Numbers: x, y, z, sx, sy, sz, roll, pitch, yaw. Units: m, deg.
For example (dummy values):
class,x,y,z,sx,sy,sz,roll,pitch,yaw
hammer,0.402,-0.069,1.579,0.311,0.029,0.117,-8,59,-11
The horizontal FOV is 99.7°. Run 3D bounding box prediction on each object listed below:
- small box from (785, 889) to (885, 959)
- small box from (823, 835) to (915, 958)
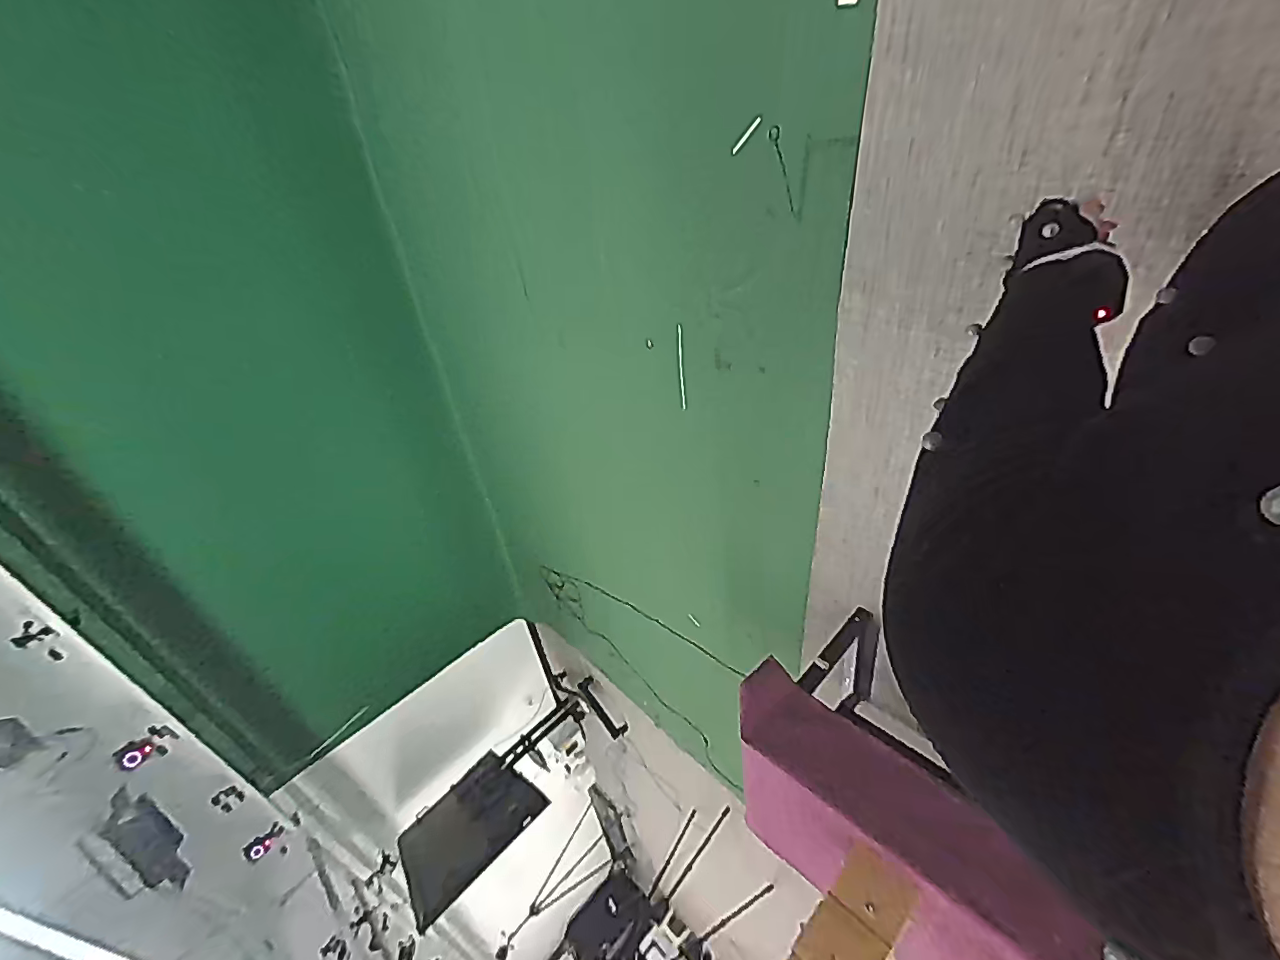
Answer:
class,x,y,z,sx,sy,sz,roll,pitch,yaw
small box,0.491,1.188,1.370,0.179,0.176,0.168,25,137,39
small box,0.610,1.111,1.452,0.179,0.176,0.168,27,139,40
